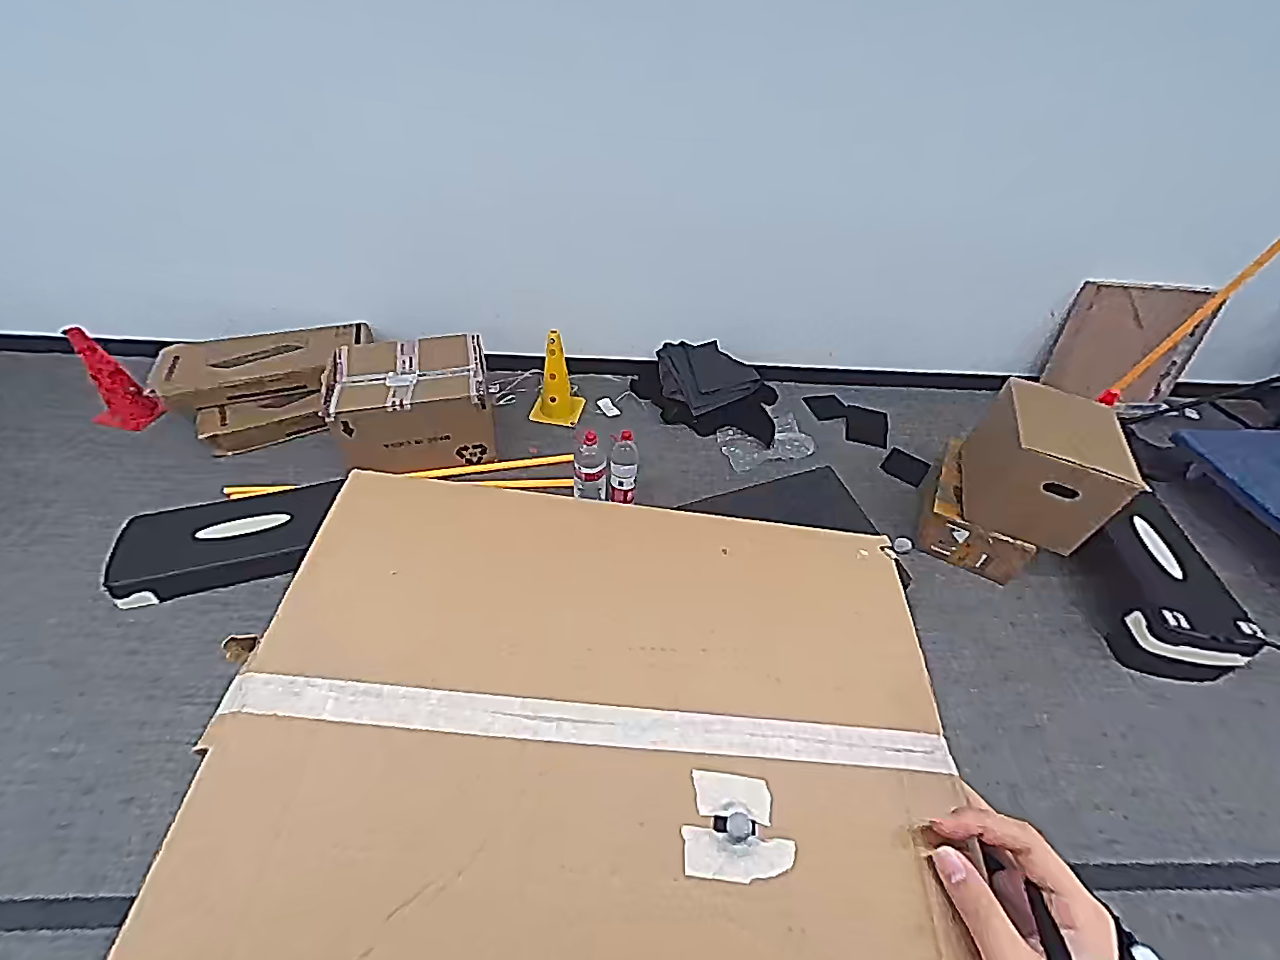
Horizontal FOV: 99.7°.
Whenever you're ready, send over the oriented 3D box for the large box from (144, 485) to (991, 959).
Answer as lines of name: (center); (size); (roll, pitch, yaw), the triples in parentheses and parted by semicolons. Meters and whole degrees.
large box: (-0.037, 0.237, 0.432); (0.408, 0.320, 0.320); (8, 51, -5)
